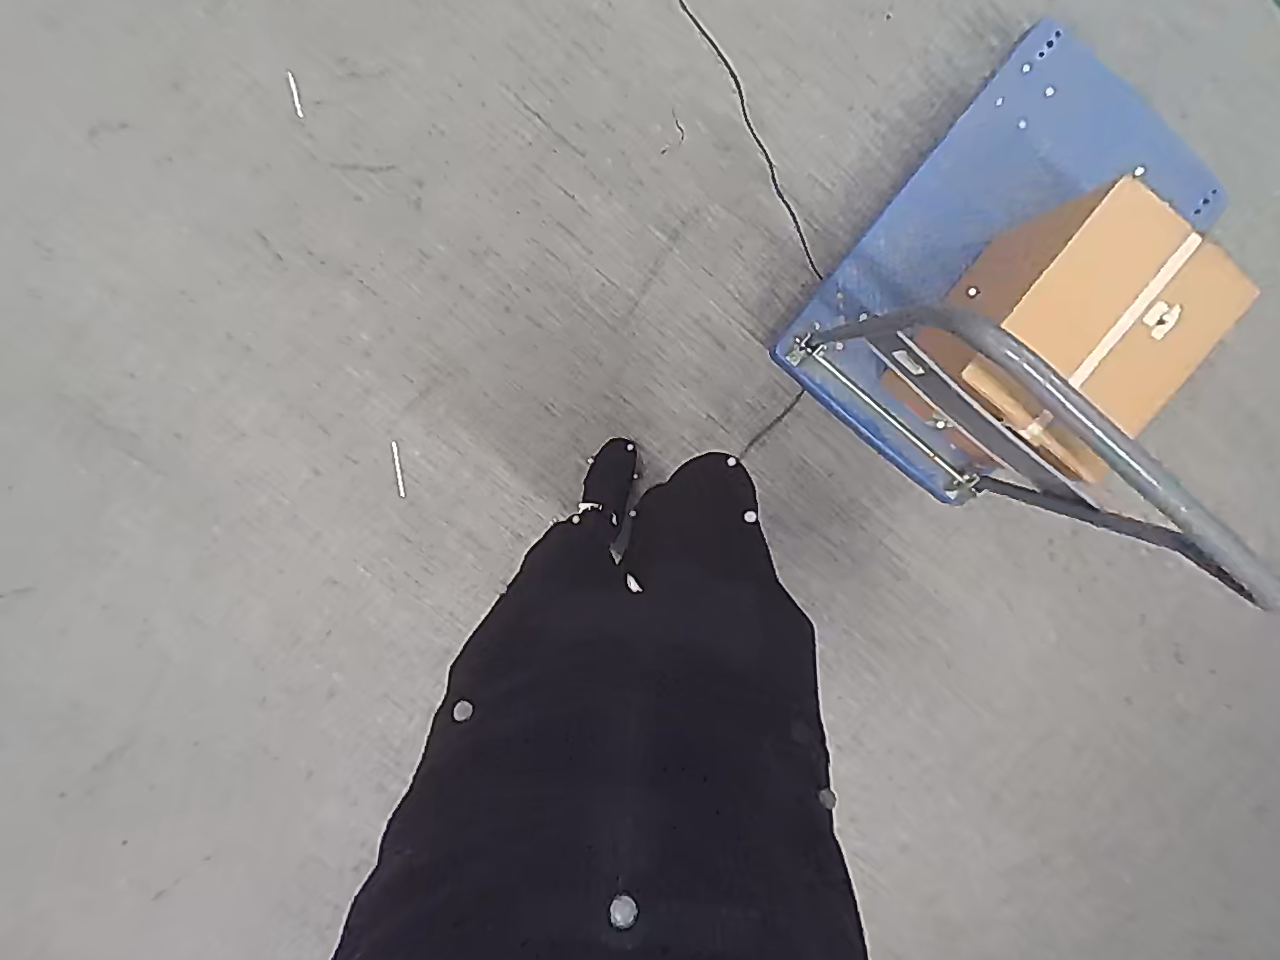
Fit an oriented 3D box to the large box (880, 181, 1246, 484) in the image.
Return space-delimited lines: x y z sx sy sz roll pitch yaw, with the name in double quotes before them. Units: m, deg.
"large box" 0.763 -0.253 1.045 0.320 0.320 0.408 37 95 -6
